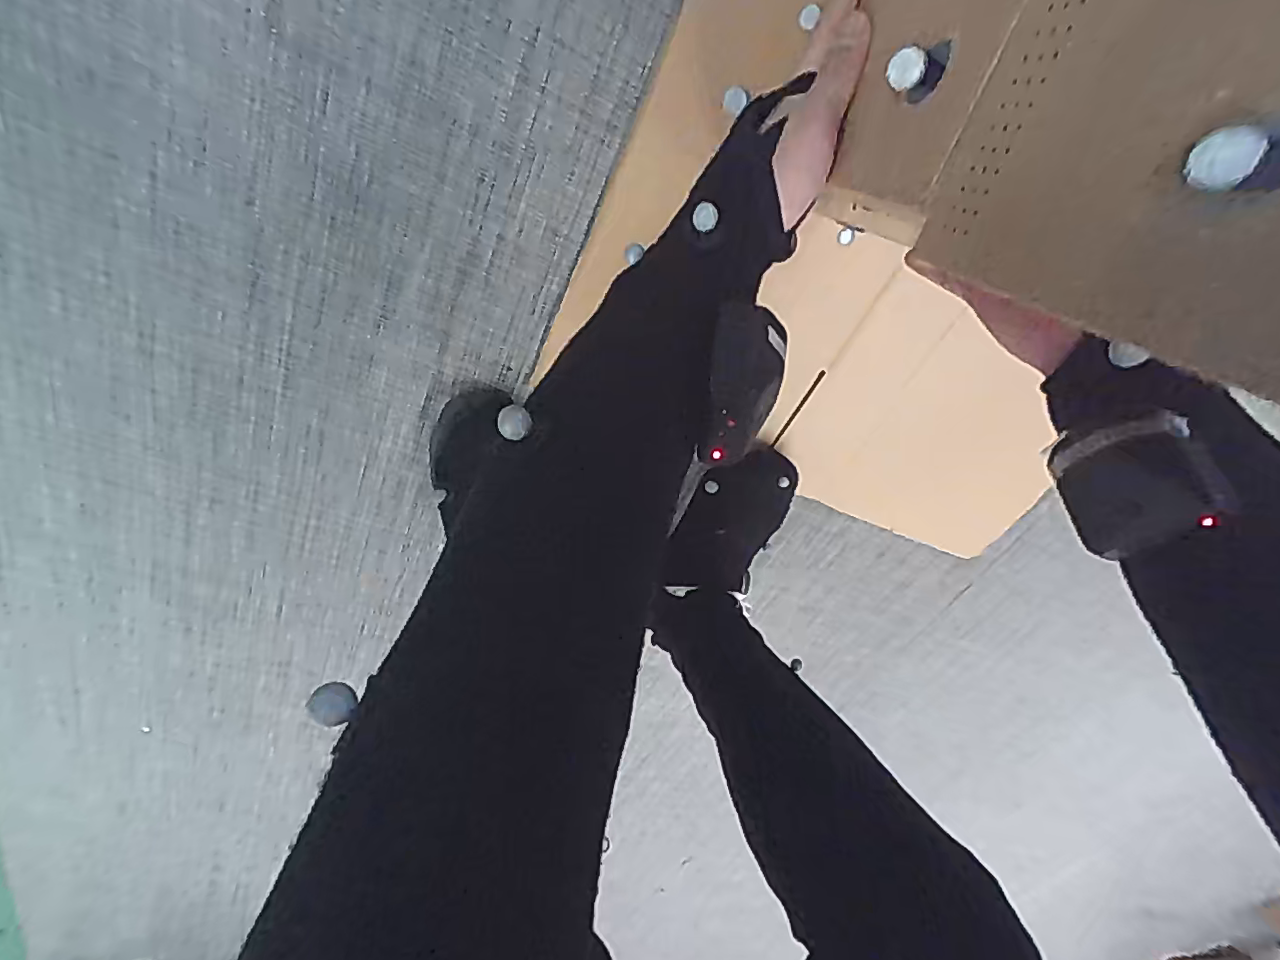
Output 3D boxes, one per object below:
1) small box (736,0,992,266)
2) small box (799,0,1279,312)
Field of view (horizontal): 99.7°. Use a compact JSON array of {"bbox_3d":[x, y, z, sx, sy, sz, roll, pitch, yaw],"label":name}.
[{"bbox_3d":[0.188,-0.284,0.397,0.168,0.176,0.179,12,121,-14],"label":"small box"},{"bbox_3d":[0.197,-0.205,0.252,0.168,0.176,0.179,10,121,-15],"label":"small box"}]
